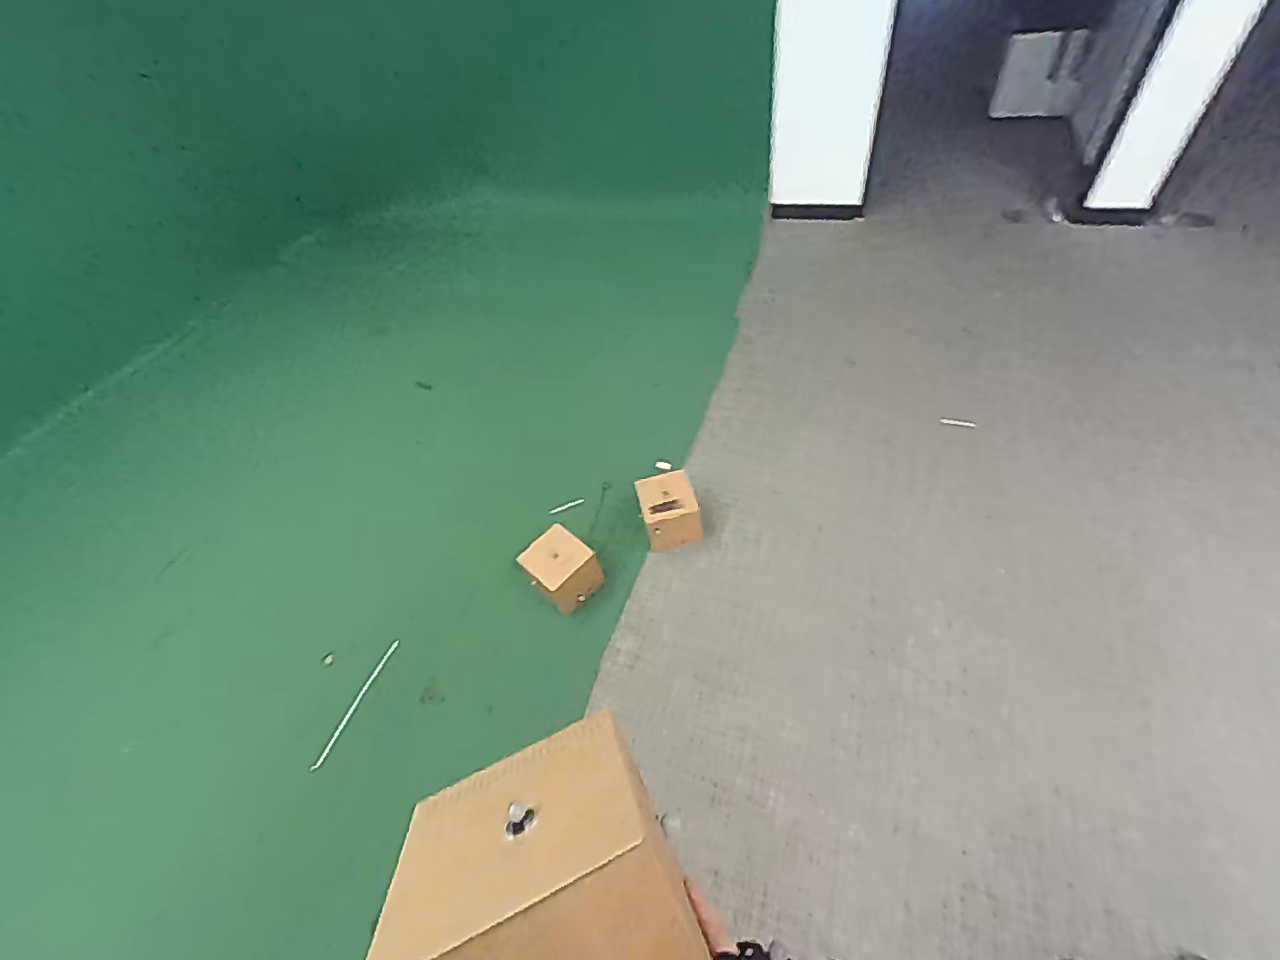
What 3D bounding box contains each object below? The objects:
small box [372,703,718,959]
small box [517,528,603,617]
[{"bbox_3d":[-0.055,0.301,0.394,0.179,0.168,0.176,-23,7,-9],"label":"small box"},{"bbox_3d":[-0.239,0.284,1.646,0.179,0.176,0.168,33,63,31],"label":"small box"}]
